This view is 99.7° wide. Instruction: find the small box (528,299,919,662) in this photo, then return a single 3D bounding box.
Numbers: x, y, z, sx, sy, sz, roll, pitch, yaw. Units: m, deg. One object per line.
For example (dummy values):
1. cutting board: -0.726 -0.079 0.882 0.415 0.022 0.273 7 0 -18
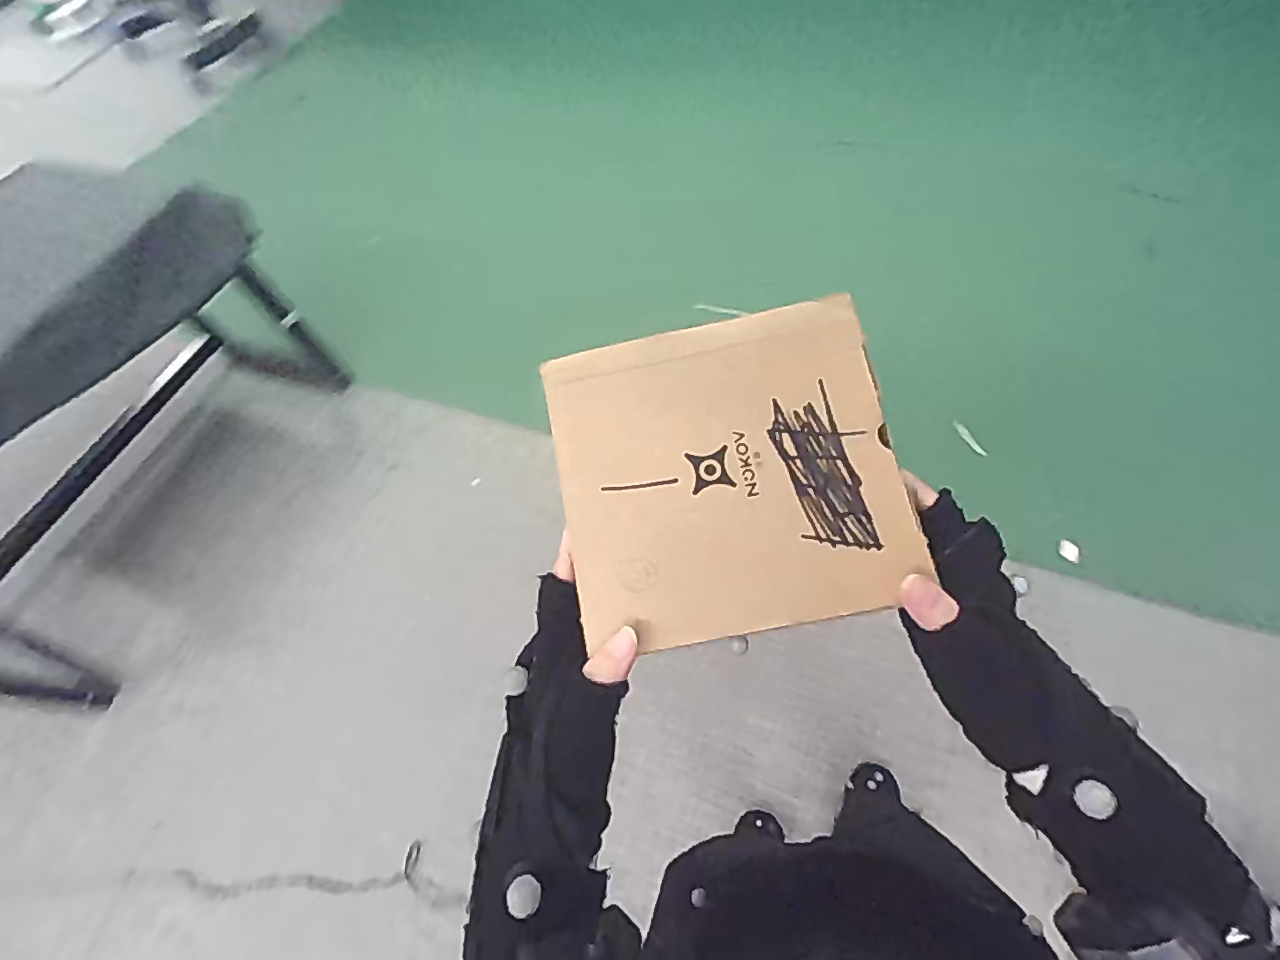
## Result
1. small box: 0.043 0.012 0.360 0.179 0.176 0.168 -13 77 2
